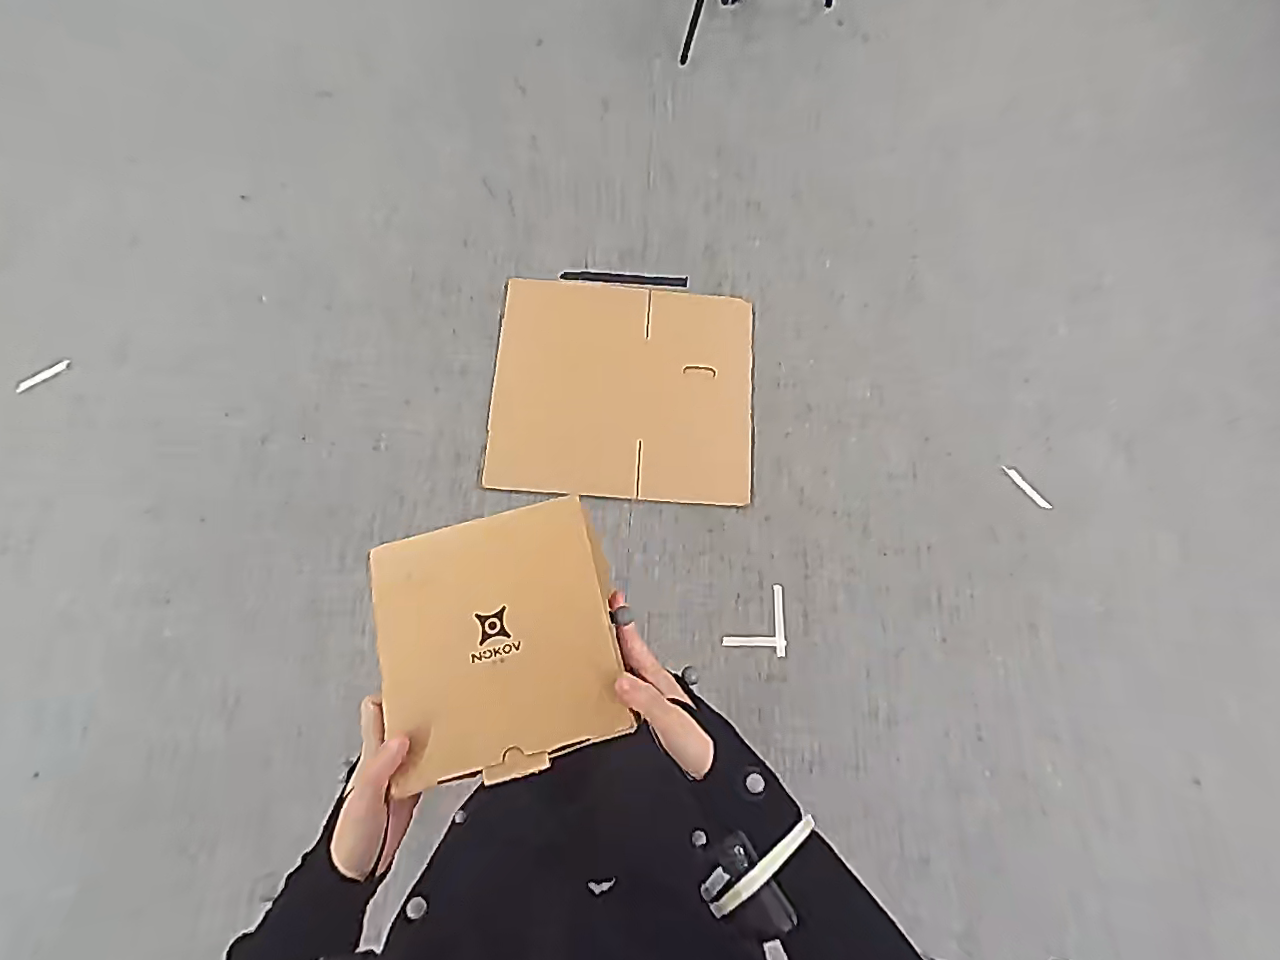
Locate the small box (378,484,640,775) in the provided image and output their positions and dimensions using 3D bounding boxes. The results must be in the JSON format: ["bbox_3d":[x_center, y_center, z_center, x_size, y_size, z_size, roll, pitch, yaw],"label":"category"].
[{"bbox_3d":[-0.099,0.127,0.461,0.168,0.176,0.179,-14,69,-4],"label":"small box"}]
